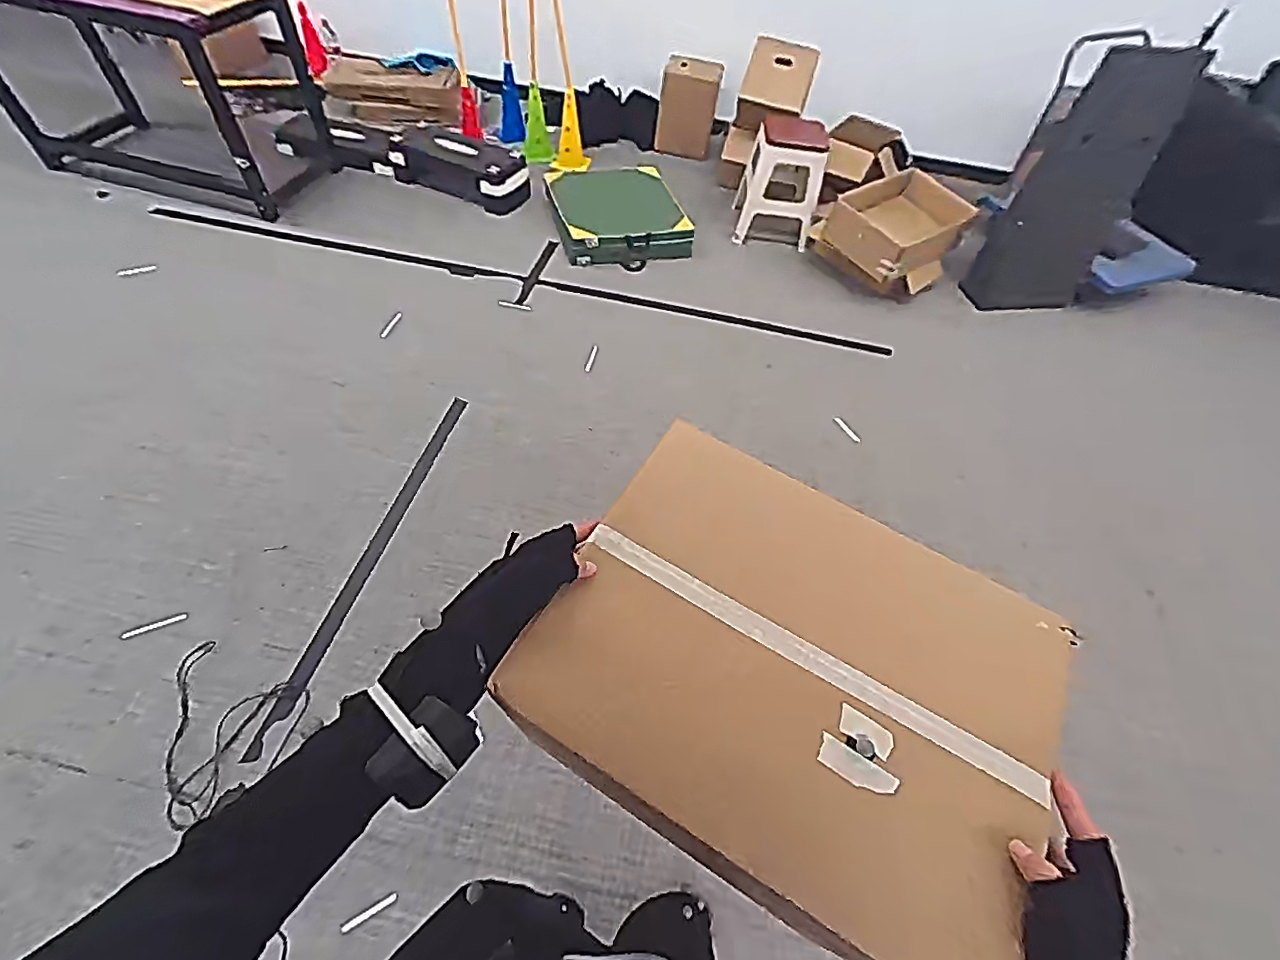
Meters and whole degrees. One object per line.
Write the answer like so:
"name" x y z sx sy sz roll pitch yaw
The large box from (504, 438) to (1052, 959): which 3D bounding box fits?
"large box" 0.120 0.228 0.588 0.408 0.320 0.320 29 61 12
